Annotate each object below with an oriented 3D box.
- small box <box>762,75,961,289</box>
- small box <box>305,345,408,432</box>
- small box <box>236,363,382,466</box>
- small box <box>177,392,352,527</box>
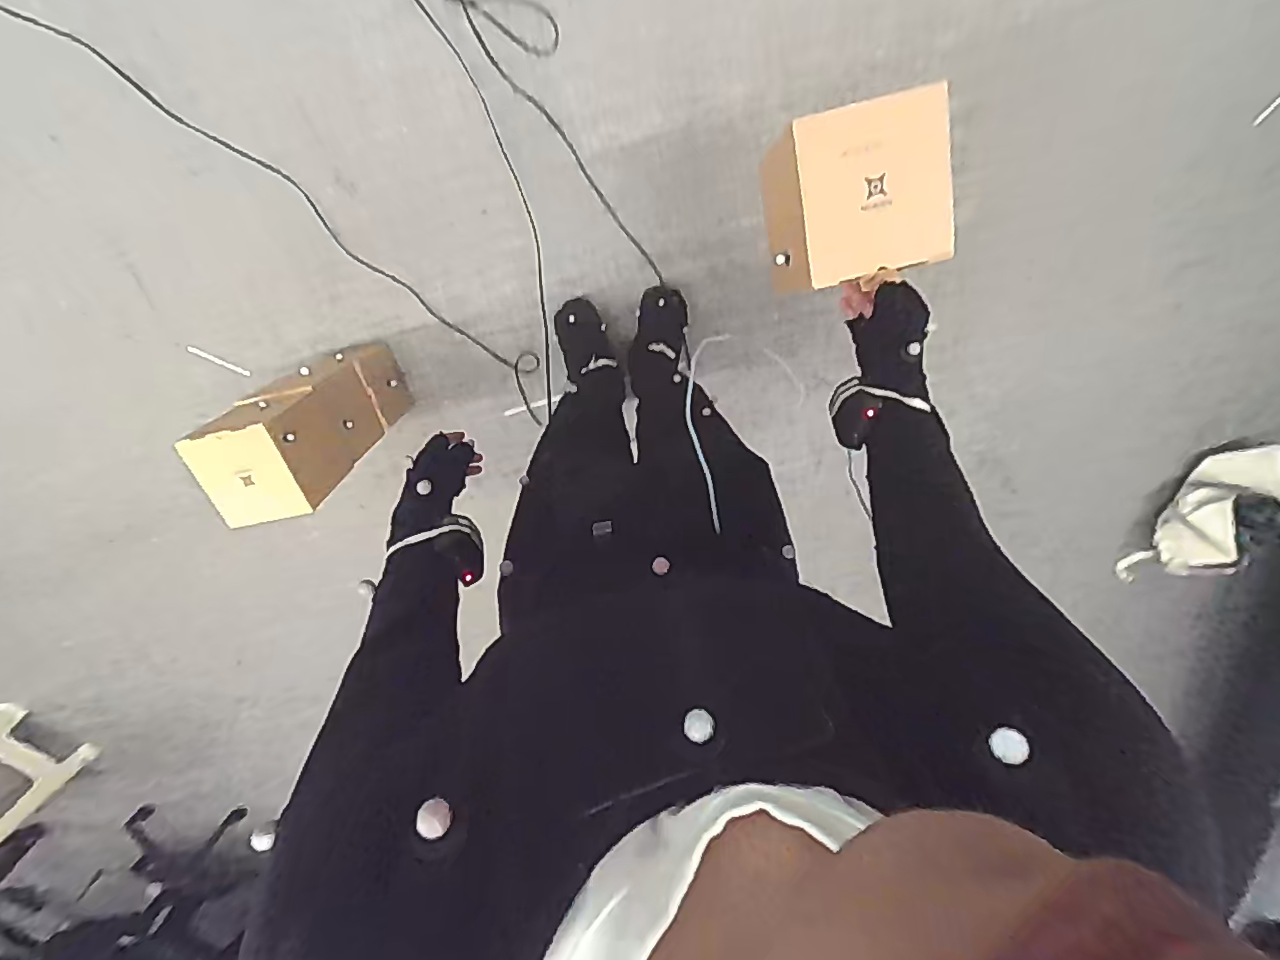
[{"bbox_3d":[0.254,-0.333,0.646,0.168,0.176,0.179,-12,107,3],"label":"small box"},{"bbox_3d":[-0.674,-0.207,1.278,0.179,0.176,0.168,-12,118,5],"label":"small box"},{"bbox_3d":[-0.677,-0.127,1.134,0.168,0.176,0.179,-11,118,5],"label":"small box"},{"bbox_3d":[-0.671,-0.041,0.995,0.168,0.176,0.179,-11,118,5],"label":"small box"}]
